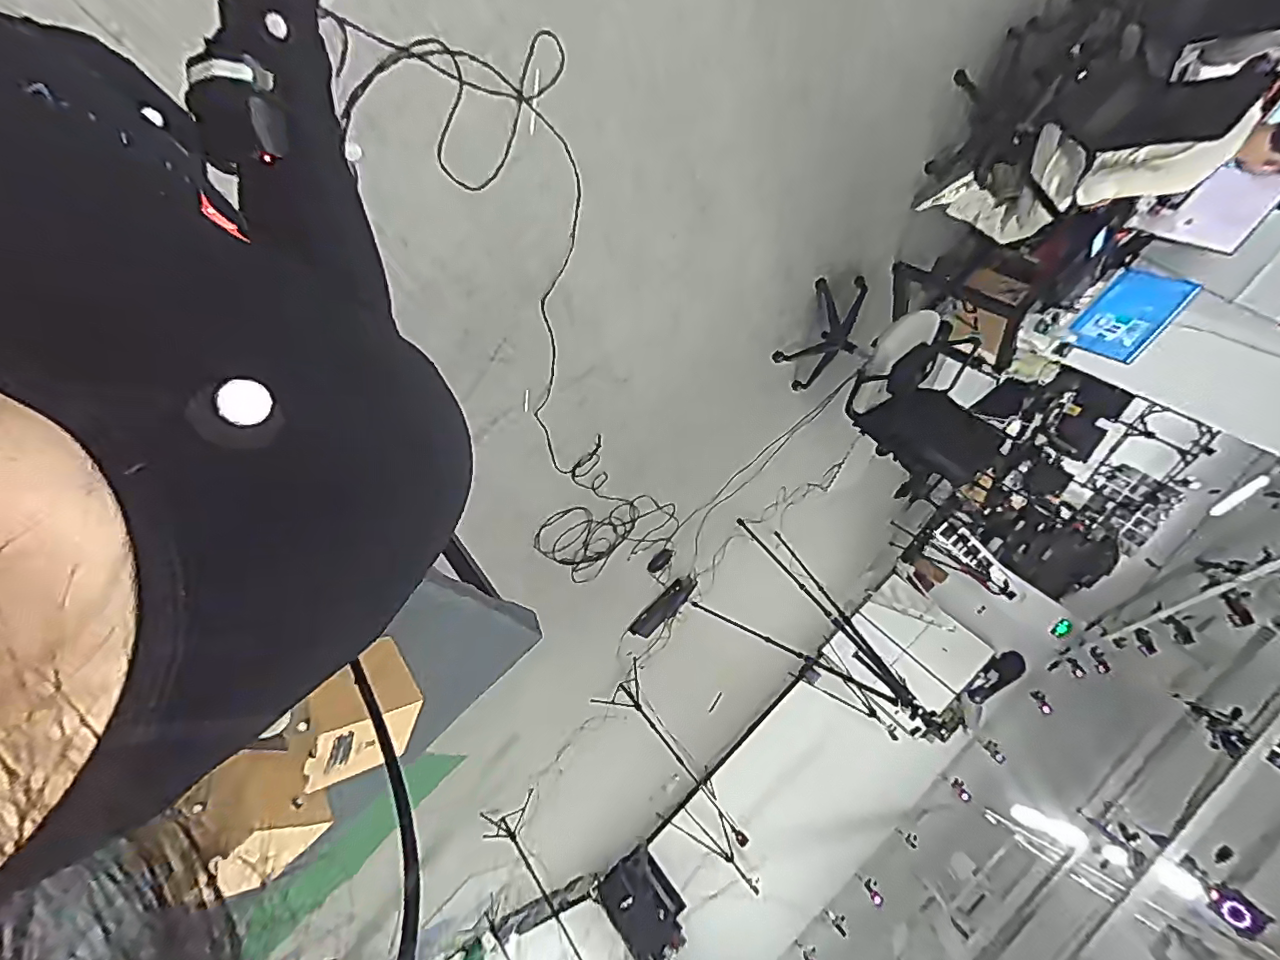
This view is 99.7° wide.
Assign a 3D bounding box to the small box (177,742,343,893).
[{"bbox_3d":[-0.709,0.618,1.013,0.168,0.176,0.179,-44,147,-7],"label":"small box"}]
